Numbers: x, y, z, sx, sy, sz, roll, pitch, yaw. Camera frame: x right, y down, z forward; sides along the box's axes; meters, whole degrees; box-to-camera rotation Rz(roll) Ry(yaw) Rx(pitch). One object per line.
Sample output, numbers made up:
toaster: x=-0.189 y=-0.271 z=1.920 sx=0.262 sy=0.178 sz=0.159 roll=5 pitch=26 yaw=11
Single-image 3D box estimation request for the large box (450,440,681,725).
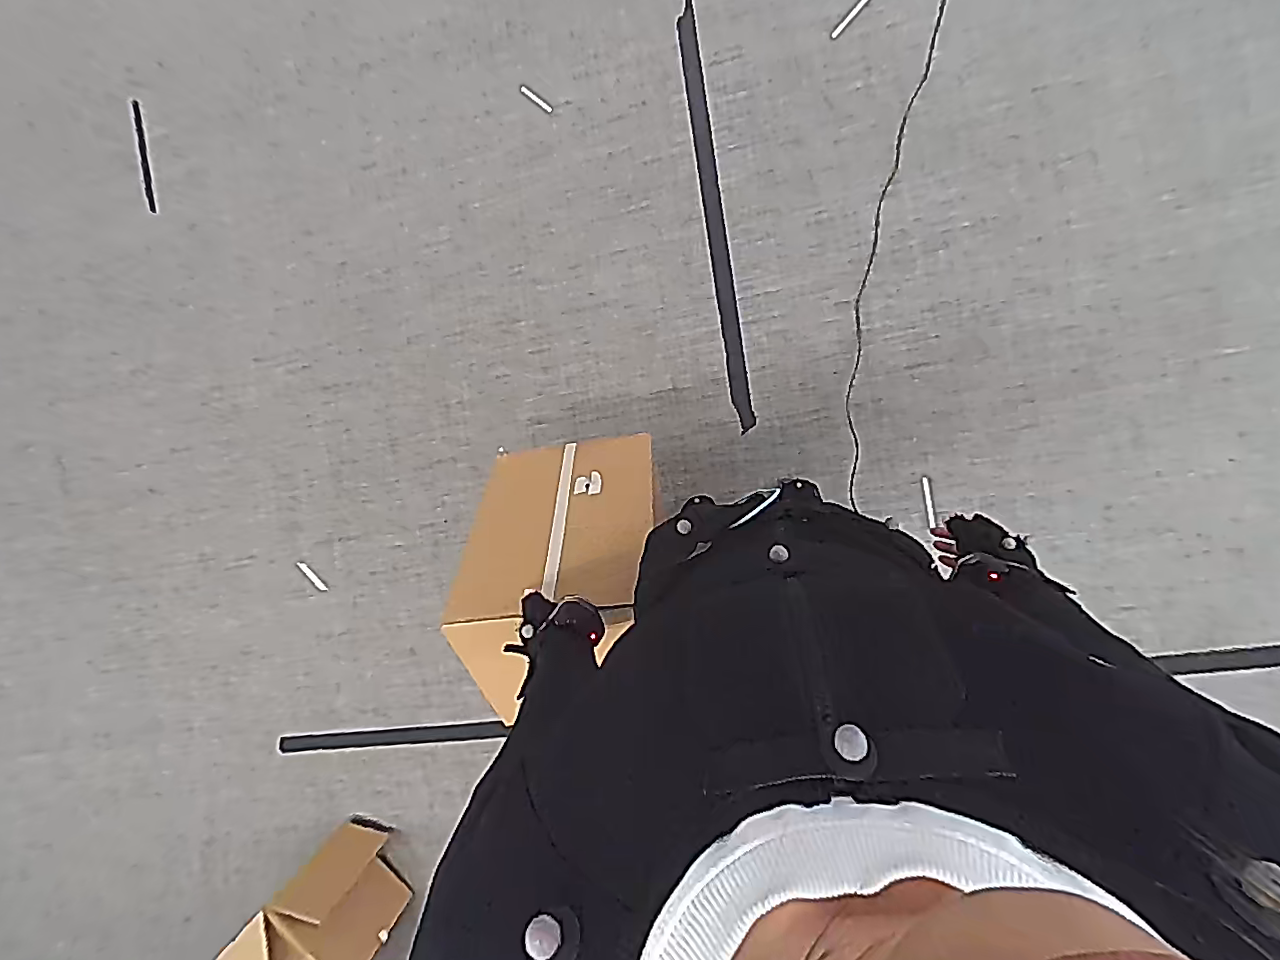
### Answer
large box: x=-0.105 y=0.180 z=1.006 sx=0.320 sy=0.408 sz=0.320 roll=-7 pitch=128 yaw=5
